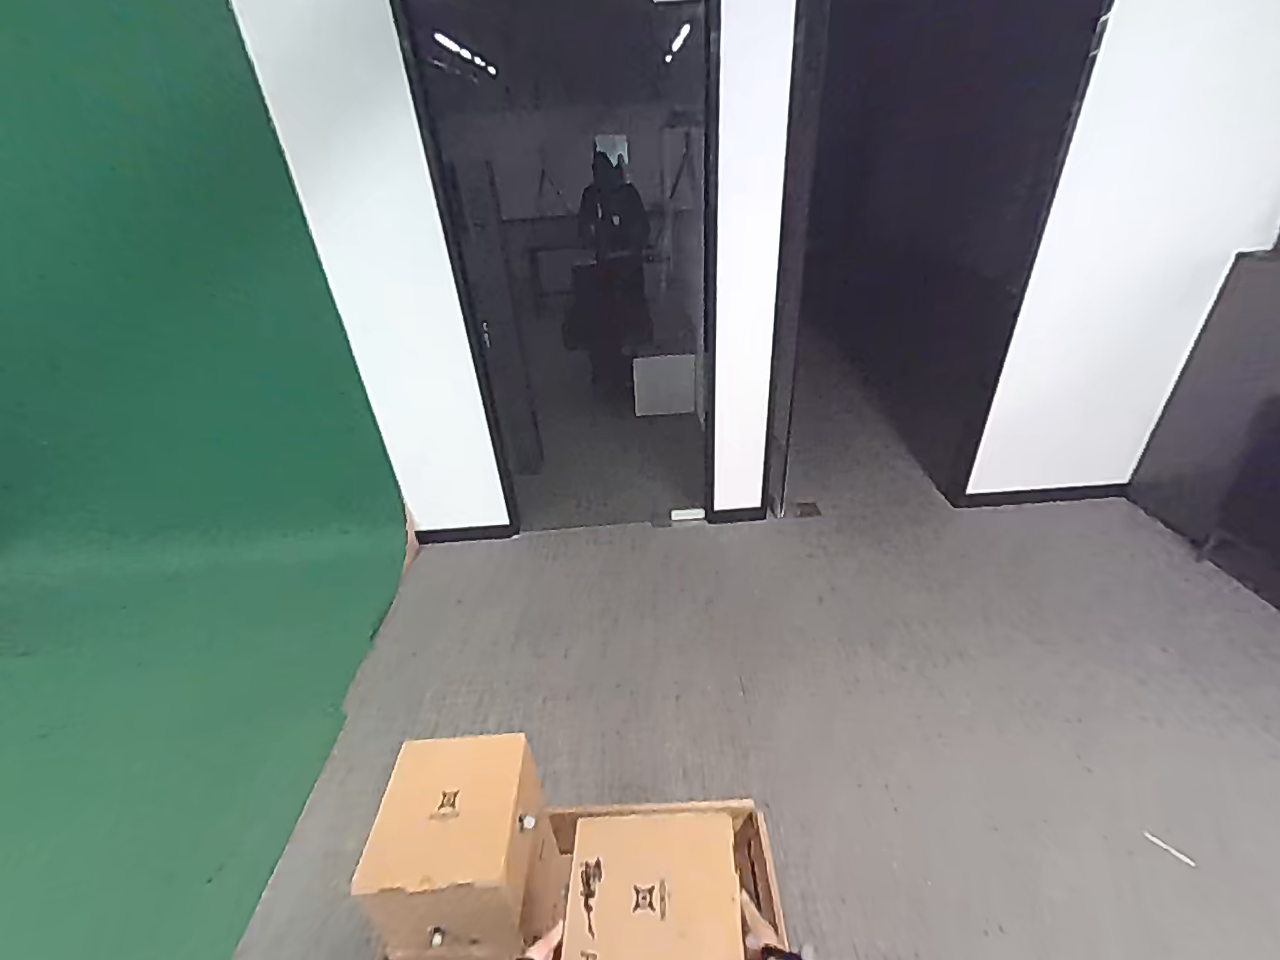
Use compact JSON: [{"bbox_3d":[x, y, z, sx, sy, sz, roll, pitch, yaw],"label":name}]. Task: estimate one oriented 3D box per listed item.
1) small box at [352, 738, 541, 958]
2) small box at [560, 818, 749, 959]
[{"bbox_3d":[-0.225,0.458,0.684,0.168,0.176,0.179,-4,31,0],"label":"small box"},{"bbox_3d":[0.020,0.489,0.571,0.179,0.176,0.168,-4,27,4],"label":"small box"}]
